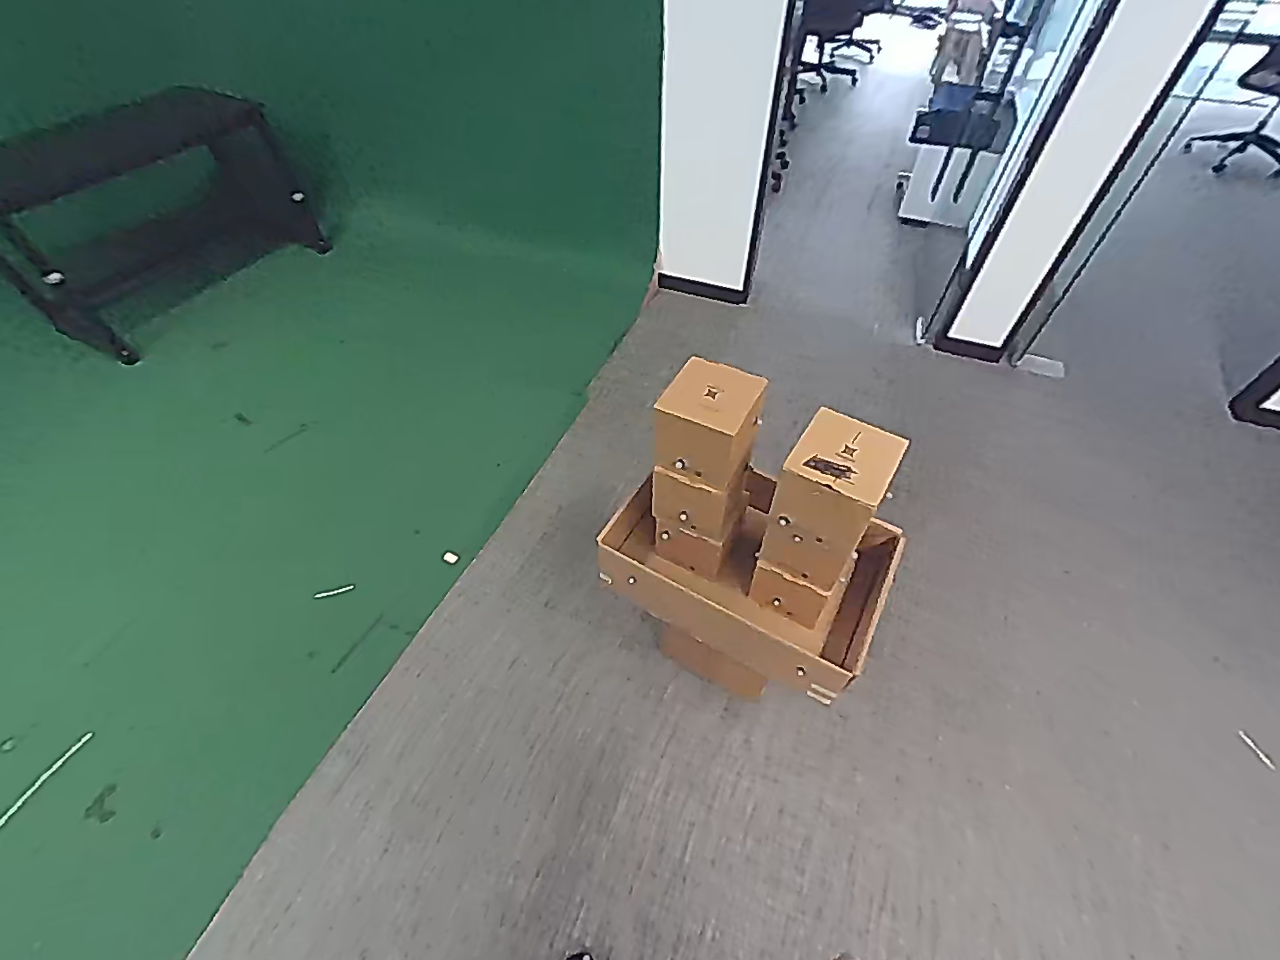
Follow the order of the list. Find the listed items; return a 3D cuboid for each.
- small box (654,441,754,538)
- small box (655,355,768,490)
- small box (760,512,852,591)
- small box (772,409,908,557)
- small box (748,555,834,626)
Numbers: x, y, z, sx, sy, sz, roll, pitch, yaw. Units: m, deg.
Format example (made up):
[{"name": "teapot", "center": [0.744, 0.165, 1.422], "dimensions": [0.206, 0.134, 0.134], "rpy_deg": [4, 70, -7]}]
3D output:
[{"name": "small box", "center": [0.135, -0.004, 1.203], "dimensions": [0.168, 0.176, 0.179], "rpy_deg": [22, 55, 16]}, {"name": "small box", "center": [0.136, -0.113, 1.082], "dimensions": [0.168, 0.176, 0.179], "rpy_deg": [23, 55, 17]}, {"name": "small box", "center": [0.366, 0.097, 1.130], "dimensions": [0.168, 0.176, 0.179], "rpy_deg": [26, 57, 19]}, {"name": "small box", "center": [0.355, 0.009, 0.990], "dimensions": [0.168, 0.176, 0.179], "rpy_deg": [28, 58, 20]}, {"name": "small box", "center": [0.362, 0.204, 1.255], "dimensions": [0.168, 0.176, 0.179], "rpy_deg": [24, 57, 18]}]
